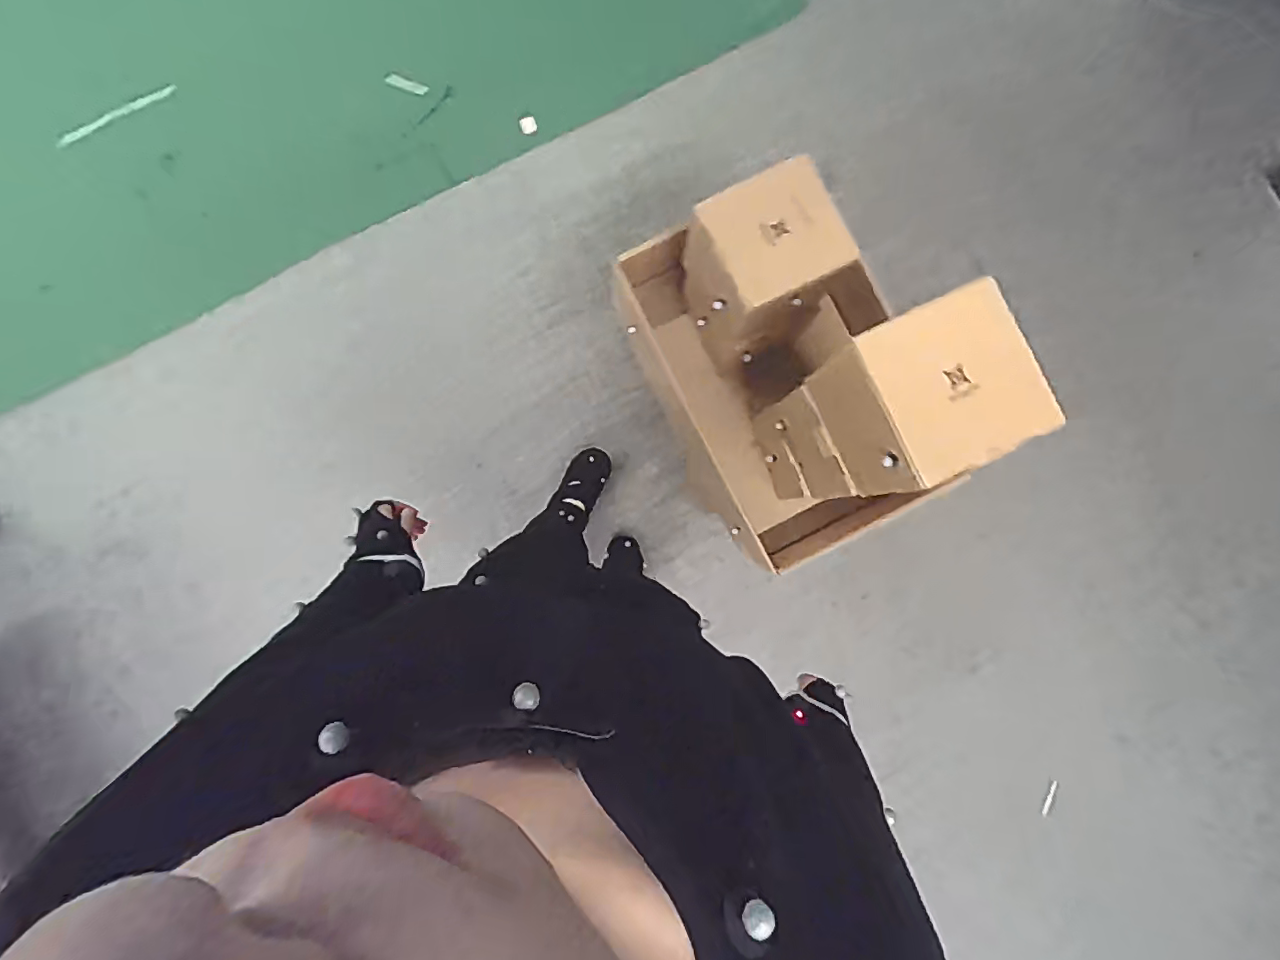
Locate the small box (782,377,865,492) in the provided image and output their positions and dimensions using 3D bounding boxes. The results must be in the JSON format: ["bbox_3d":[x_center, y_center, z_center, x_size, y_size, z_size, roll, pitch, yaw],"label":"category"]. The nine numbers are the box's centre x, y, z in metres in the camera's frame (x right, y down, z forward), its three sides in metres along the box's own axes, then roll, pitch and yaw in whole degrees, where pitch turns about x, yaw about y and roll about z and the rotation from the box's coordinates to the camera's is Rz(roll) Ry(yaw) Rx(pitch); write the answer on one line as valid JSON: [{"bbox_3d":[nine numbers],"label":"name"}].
[{"bbox_3d":[0.330,-0.087,0.807,0.179,0.176,0.168,-23,88,-3],"label":"small box"}]

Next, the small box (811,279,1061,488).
[{"bbox_3d":[0.332,-0.100,0.645,0.168,0.176,0.179,-24,89,-2],"label":"small box"}]

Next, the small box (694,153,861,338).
[{"bbox_3d":[0.191,-0.339,0.818,0.179,0.176,0.168,-25,88,-2],"label":"small box"}]
